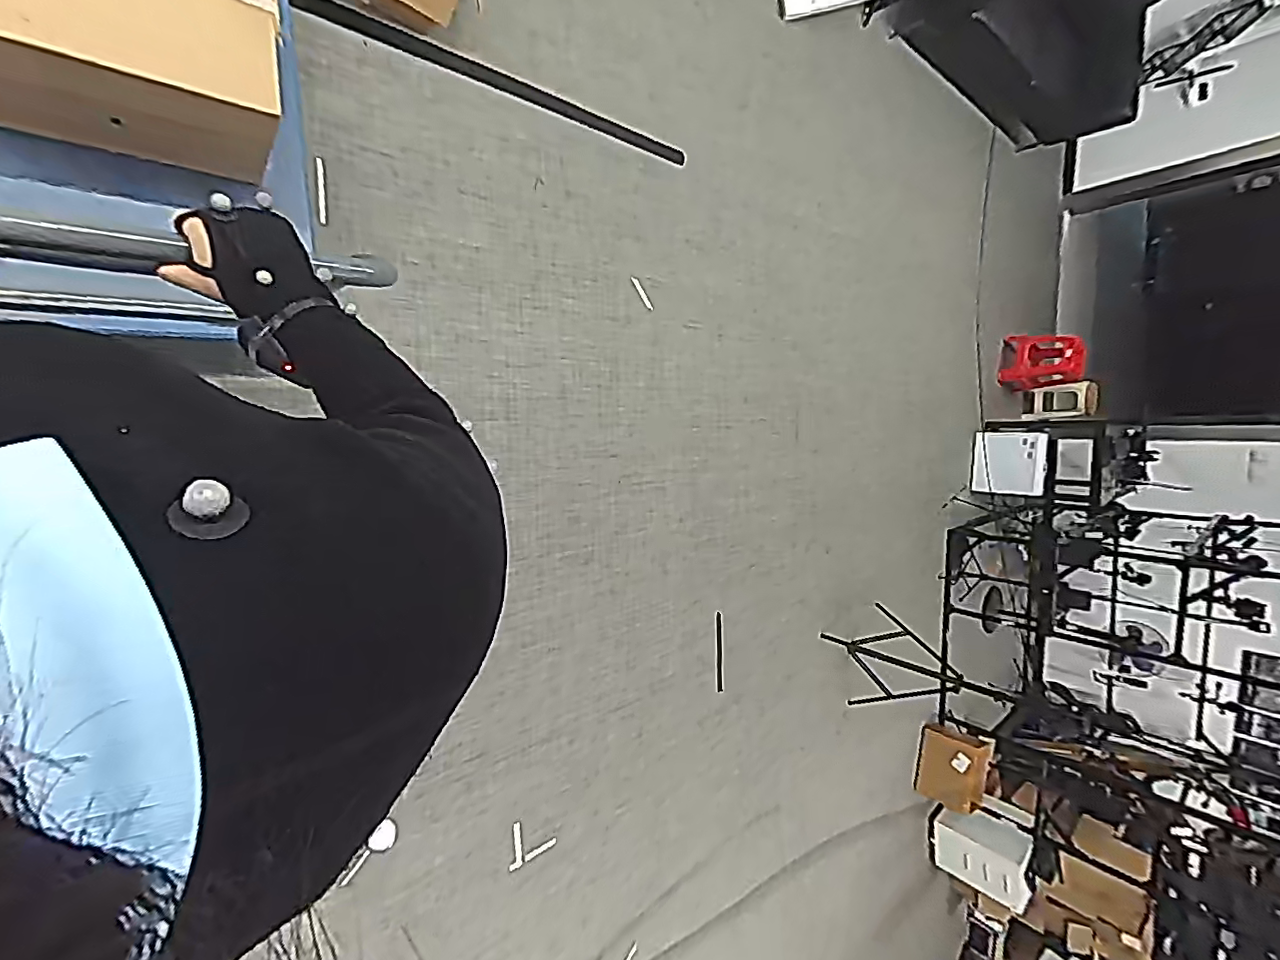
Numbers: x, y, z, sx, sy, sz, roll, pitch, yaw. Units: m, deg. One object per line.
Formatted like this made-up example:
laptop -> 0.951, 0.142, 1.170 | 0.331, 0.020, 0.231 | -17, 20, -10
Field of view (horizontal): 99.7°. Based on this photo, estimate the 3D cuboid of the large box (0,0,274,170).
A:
large box -> -0.827, -0.727, 0.822 | 0.408, 0.320, 0.320 | -7, 98, -39
